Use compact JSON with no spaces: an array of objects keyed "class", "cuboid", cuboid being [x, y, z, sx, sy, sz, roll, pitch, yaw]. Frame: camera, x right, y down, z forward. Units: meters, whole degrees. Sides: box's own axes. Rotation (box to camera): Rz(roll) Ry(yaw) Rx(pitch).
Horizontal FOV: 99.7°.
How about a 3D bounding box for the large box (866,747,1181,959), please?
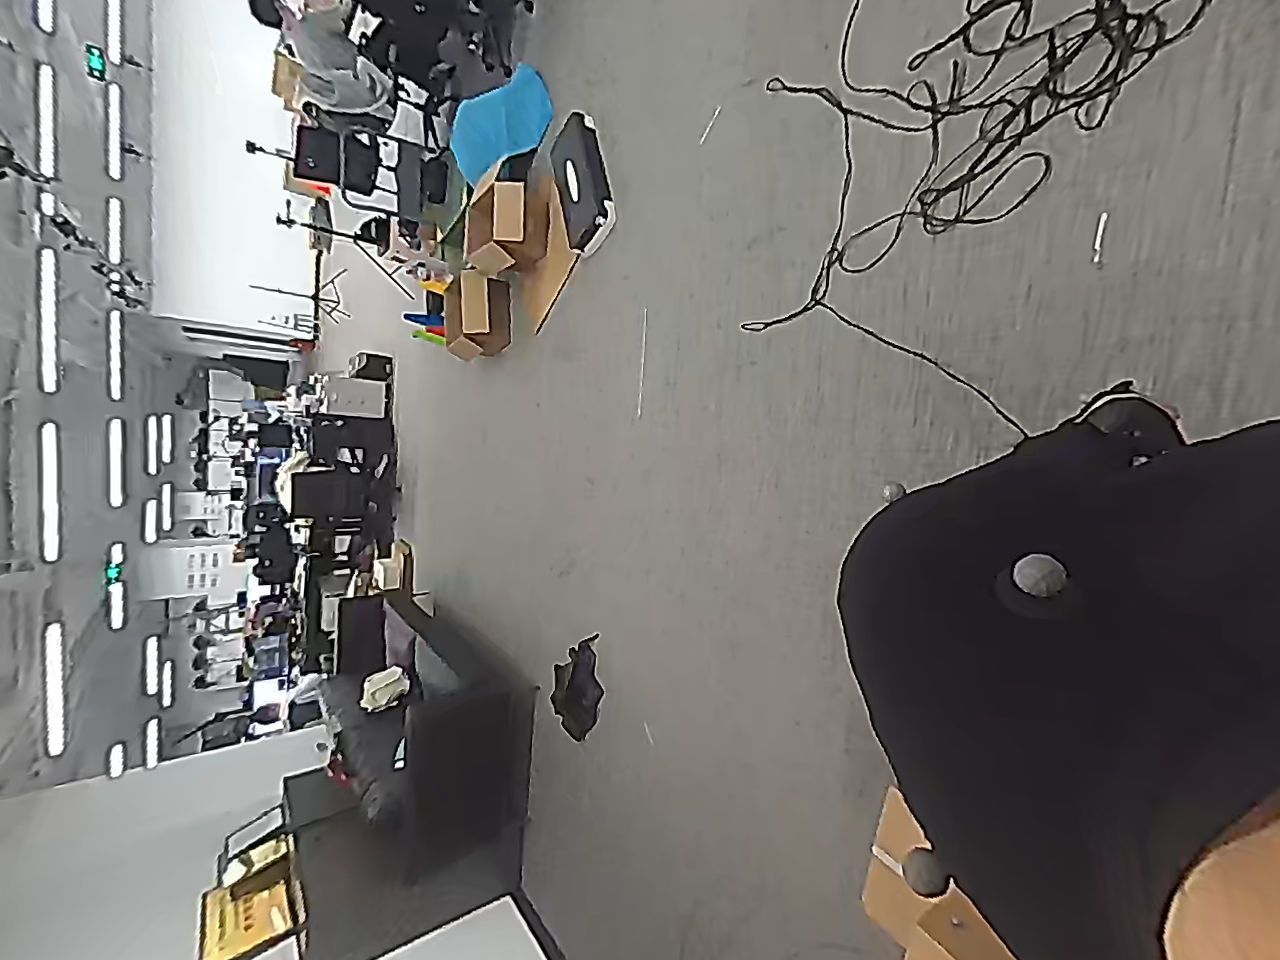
[{"class":"large box","cuboid":[0.750,0.829,1.091,0.408,0.320,0.320,22,106,53]}]
